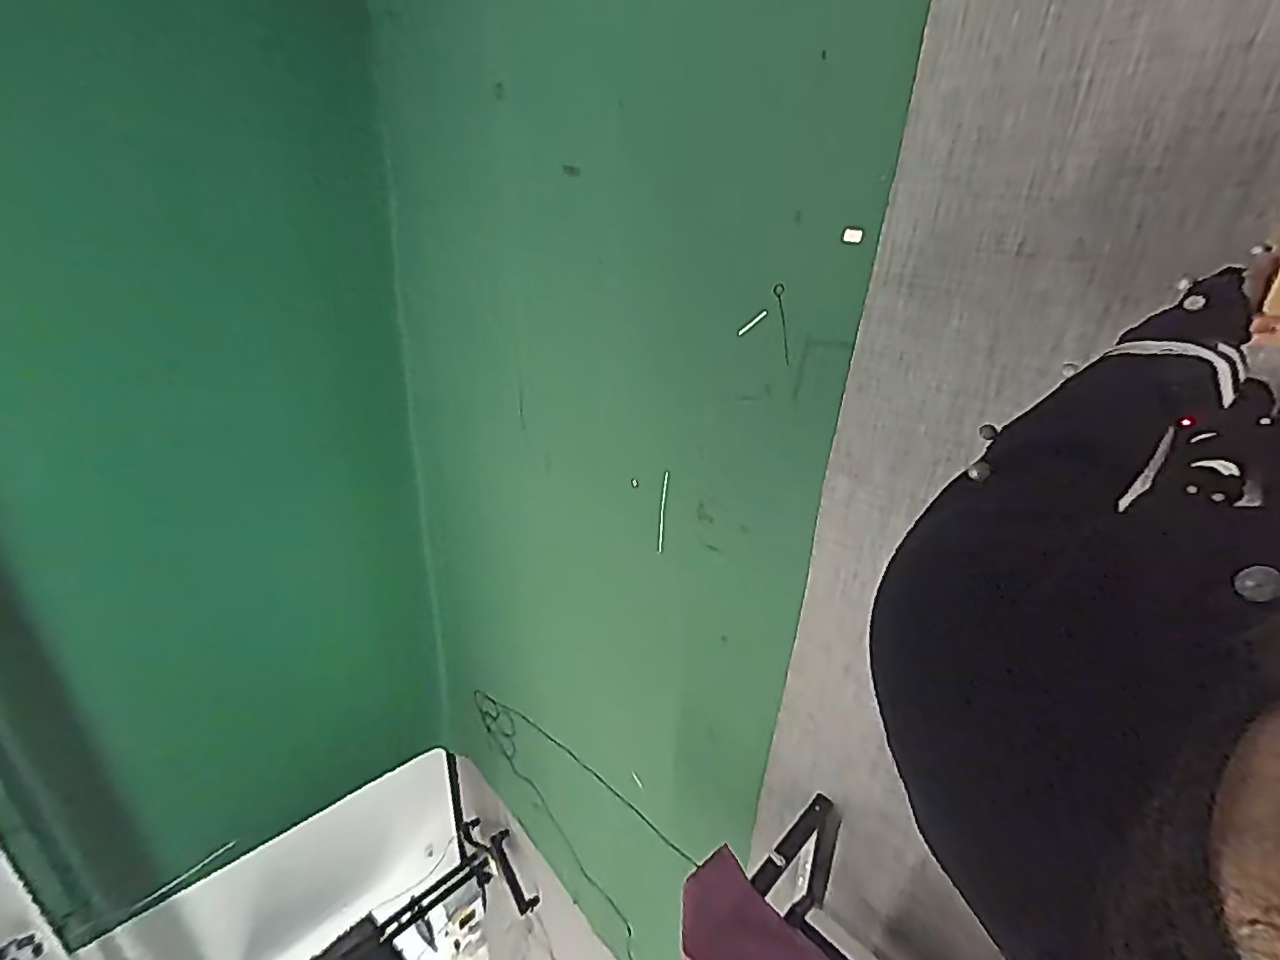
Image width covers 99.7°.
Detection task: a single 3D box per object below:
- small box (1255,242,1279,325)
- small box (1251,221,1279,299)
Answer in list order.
[{"bbox_3d":[0.622,-0.205,0.409,0.168,0.176,0.179,23,119,40],"label":"small box"},{"bbox_3d":[0.742,-0.256,0.515,0.168,0.176,0.179,25,122,38],"label":"small box"}]
